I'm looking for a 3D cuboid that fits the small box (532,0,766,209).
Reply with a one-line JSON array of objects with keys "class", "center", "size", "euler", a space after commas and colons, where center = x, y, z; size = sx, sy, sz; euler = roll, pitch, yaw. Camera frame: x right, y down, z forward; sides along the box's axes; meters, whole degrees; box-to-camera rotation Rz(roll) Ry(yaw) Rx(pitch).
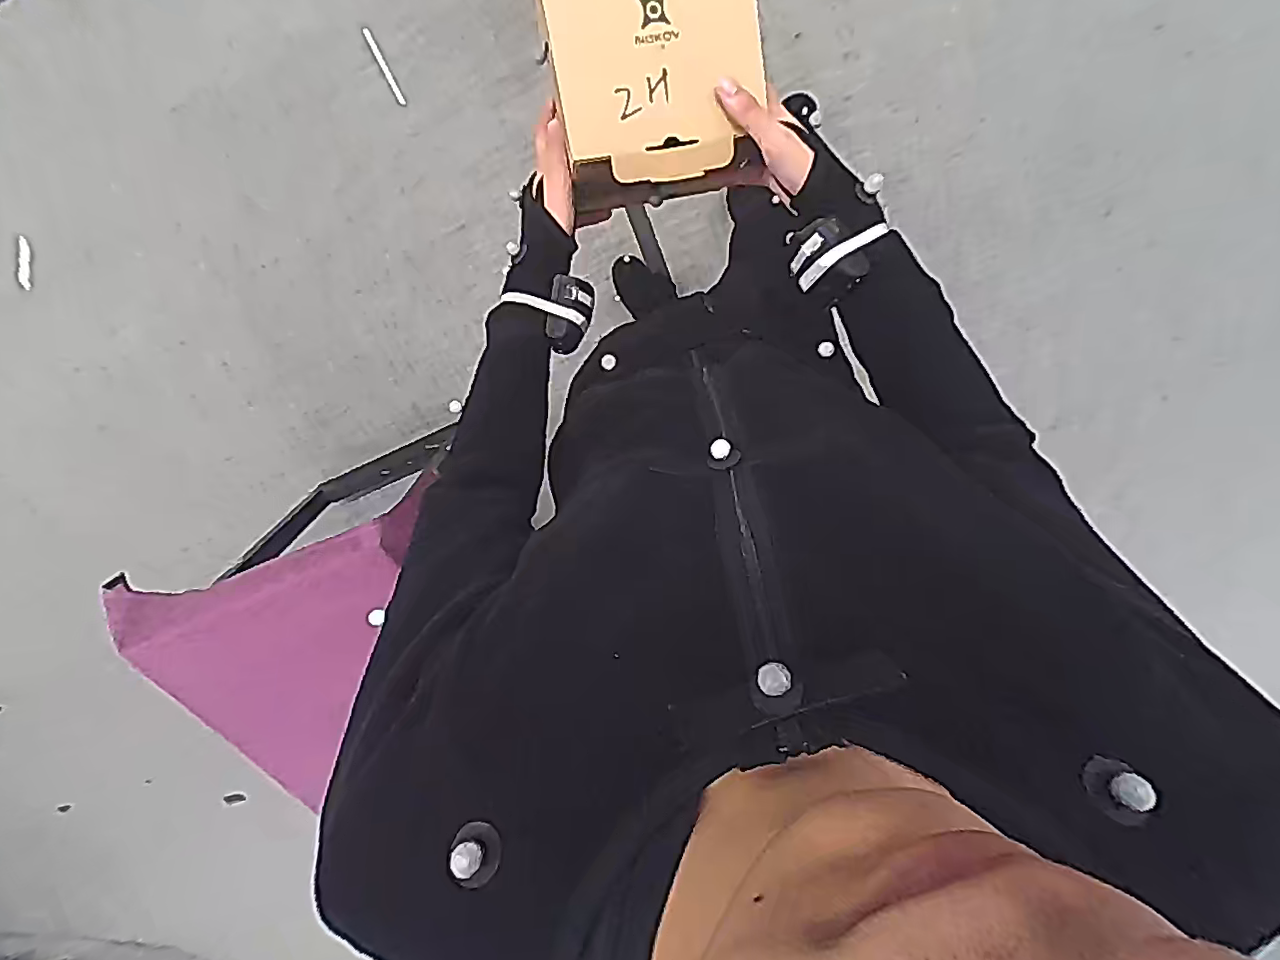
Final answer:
[{"class": "small box", "center": [-0.002, -0.369, 0.486], "size": [0.168, 0.176, 0.179], "euler": [-12, 104, -3]}]
